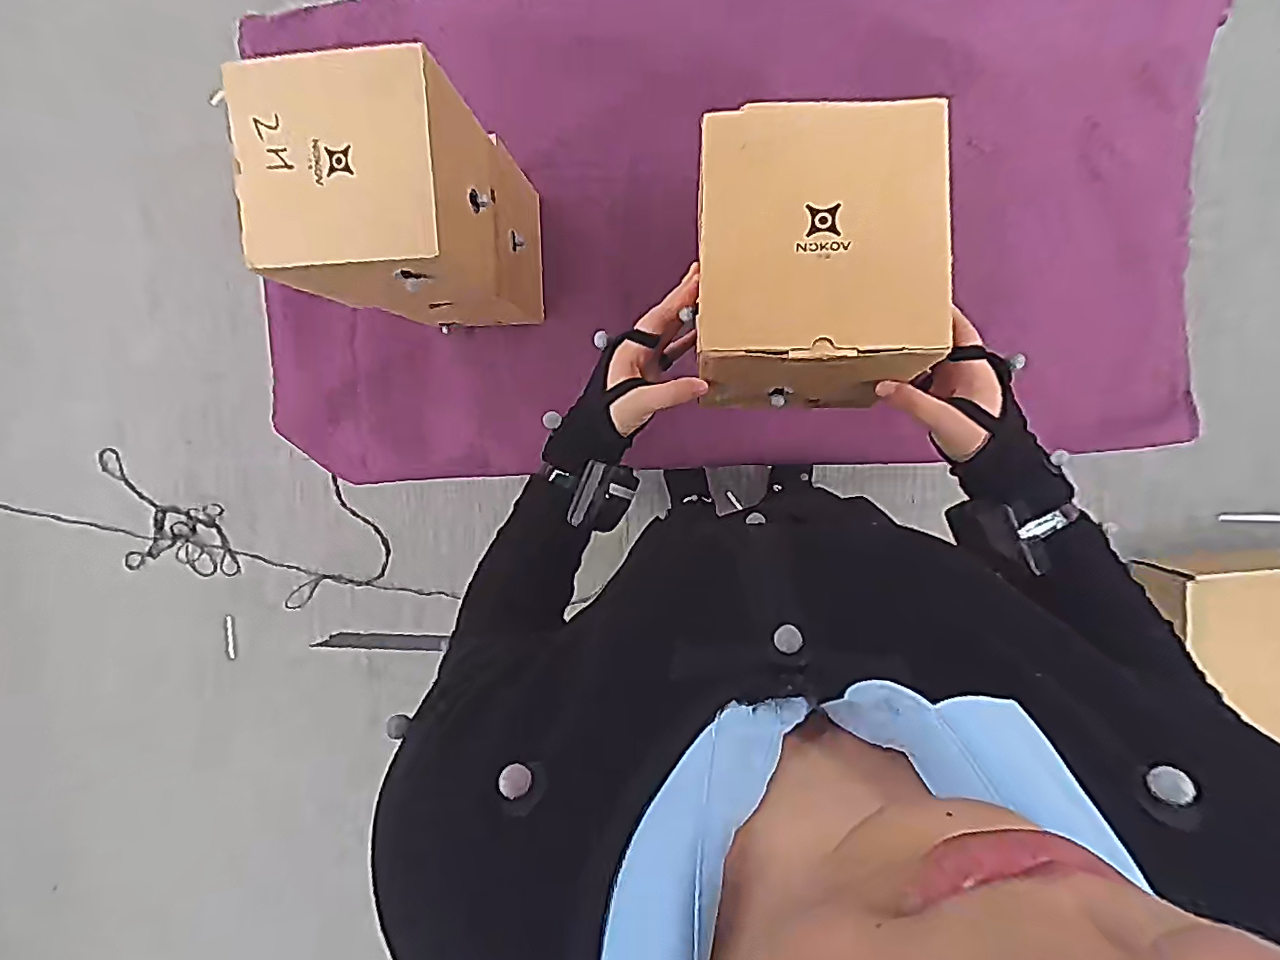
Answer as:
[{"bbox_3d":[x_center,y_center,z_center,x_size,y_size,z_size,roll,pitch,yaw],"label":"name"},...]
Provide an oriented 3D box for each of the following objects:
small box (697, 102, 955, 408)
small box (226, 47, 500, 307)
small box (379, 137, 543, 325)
[{"bbox_3d":[0.132,-0.164,0.444,0.168,0.176,0.179,1,86,6],"label":"small box"},{"bbox_3d":[-0.243,-0.270,0.522,0.179,0.176,0.168,-1,96,6],"label":"small box"},{"bbox_3d":[-0.225,-0.297,0.684,0.168,0.176,0.179,-1,96,5],"label":"small box"}]
